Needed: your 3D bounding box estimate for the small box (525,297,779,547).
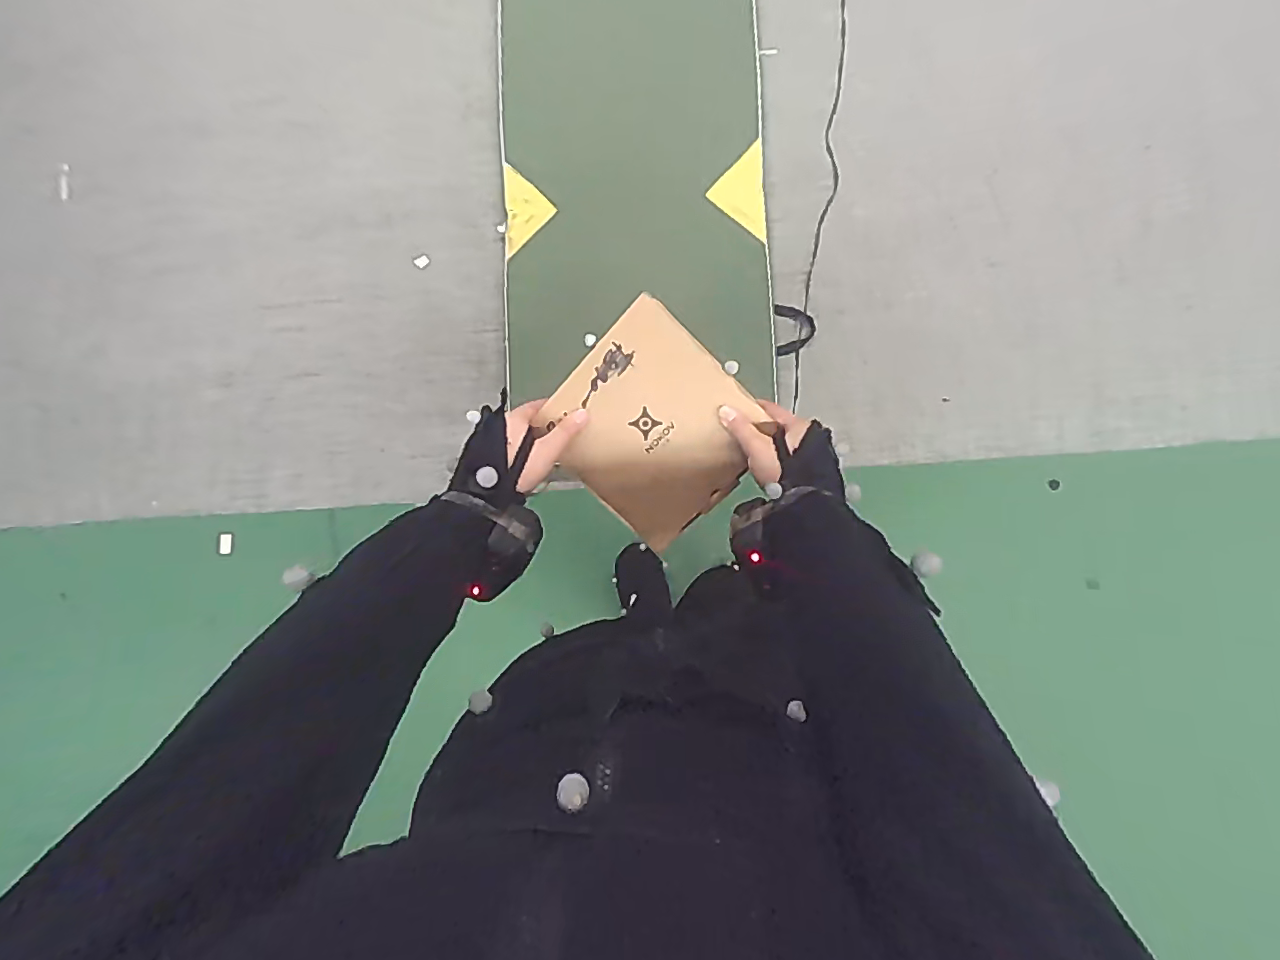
[{"bbox_3d":[0.017,-0.068,0.566,0.179,0.176,0.168,44,104,-7],"label":"small box"}]
